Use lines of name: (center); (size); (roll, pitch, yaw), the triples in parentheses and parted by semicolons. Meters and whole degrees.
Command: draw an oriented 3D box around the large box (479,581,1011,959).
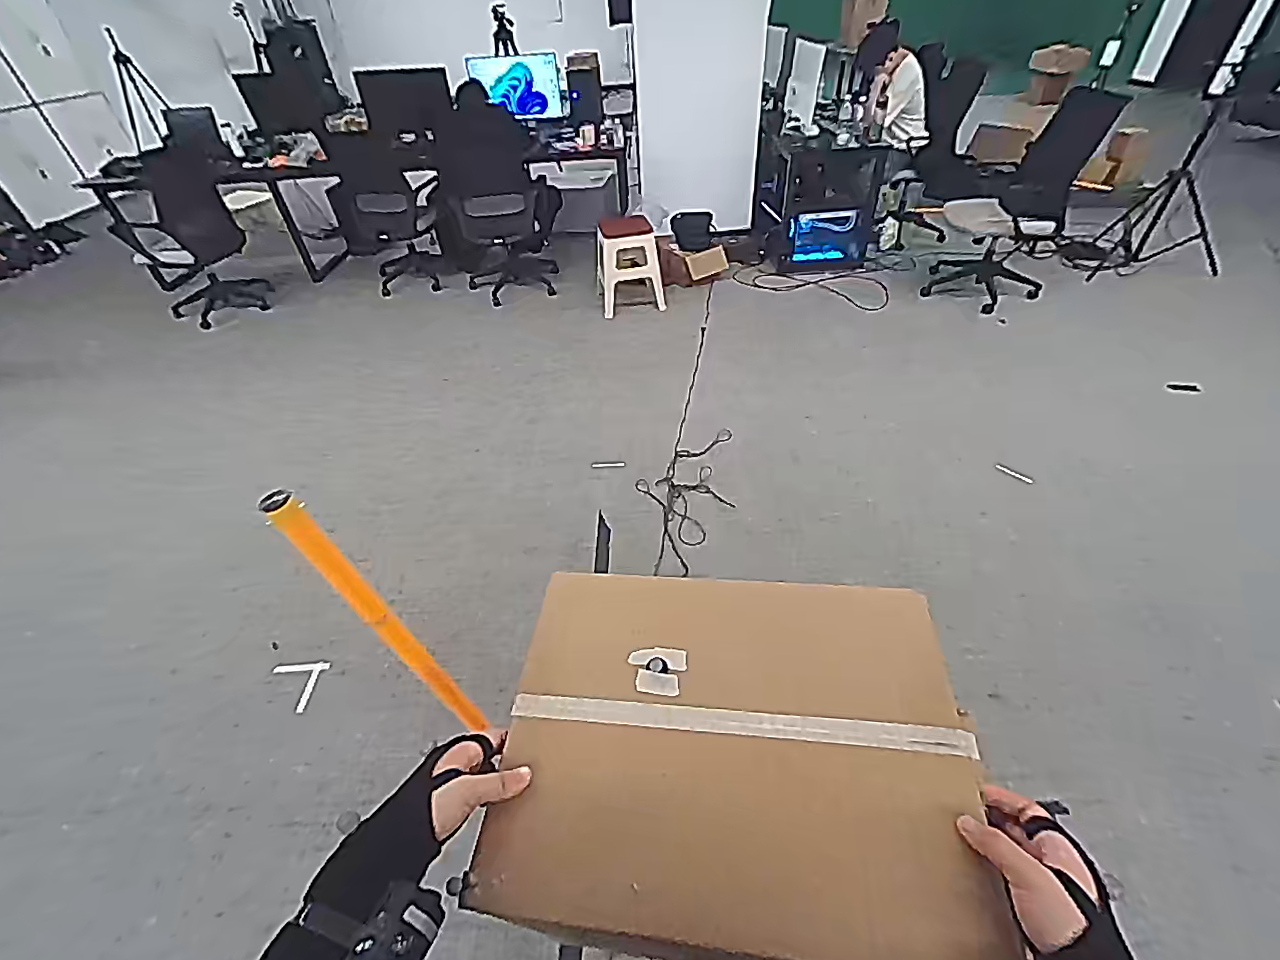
large box: (0.100, 0.329, 0.611); (0.408, 0.320, 0.320); (0, 45, 10)
